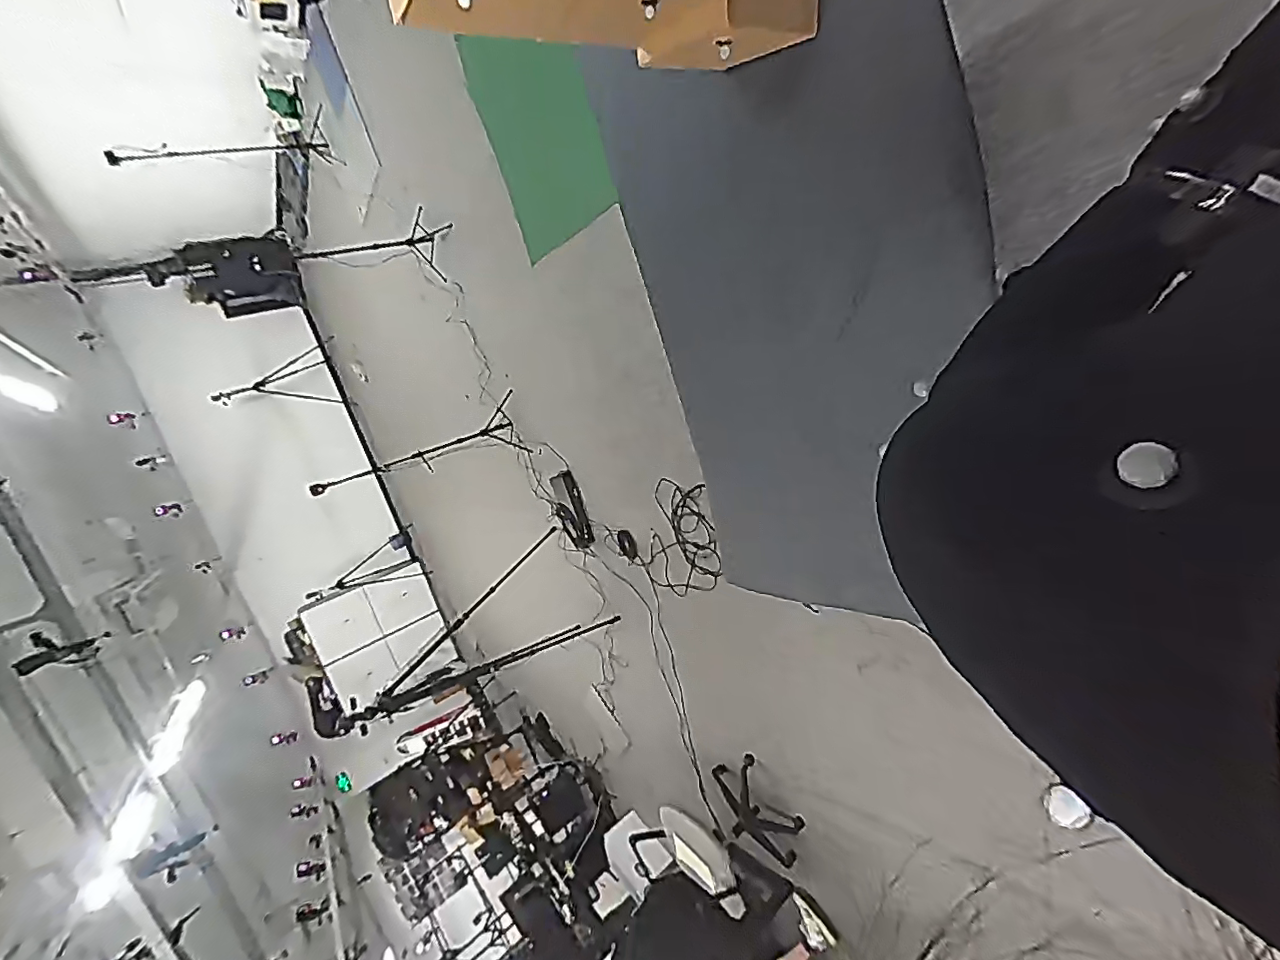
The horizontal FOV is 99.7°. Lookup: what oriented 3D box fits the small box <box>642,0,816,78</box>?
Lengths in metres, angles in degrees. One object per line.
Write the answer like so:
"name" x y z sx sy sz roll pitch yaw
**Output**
"small box" 0.112 -0.635 0.693 0.179 0.176 0.168 27 131 48
